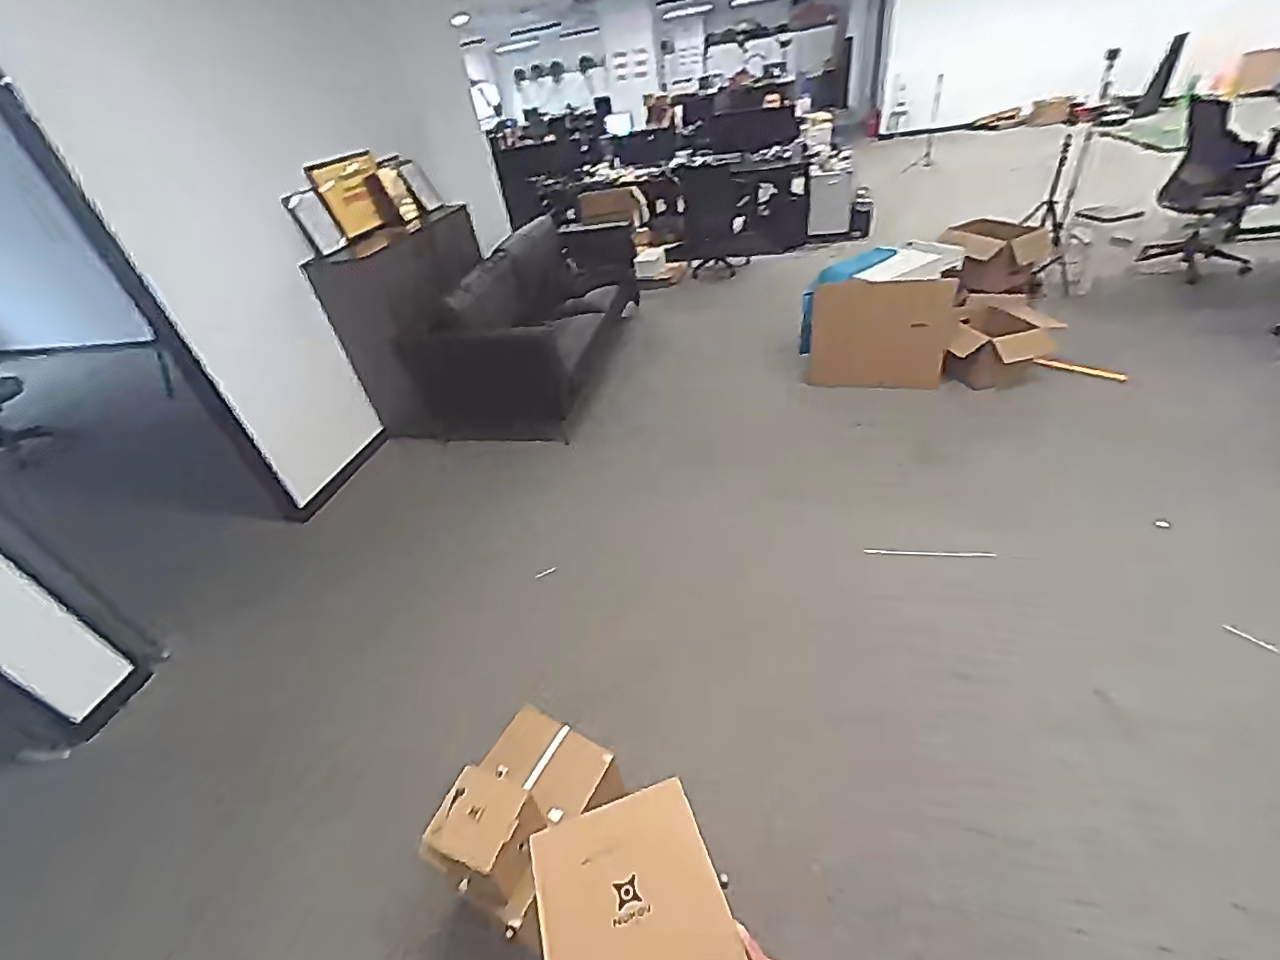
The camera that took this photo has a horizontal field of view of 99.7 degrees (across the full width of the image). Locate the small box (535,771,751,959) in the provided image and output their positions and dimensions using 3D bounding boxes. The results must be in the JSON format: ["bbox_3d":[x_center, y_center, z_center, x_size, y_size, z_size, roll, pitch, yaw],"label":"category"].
[{"bbox_3d":[0.005,0.439,0.535,0.168,0.176,0.179,-15,32,-10],"label":"small box"}]

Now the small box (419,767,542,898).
[{"bbox_3d":[-0.336,0.773,1.183,0.179,0.176,0.168,9,40,21],"label":"small box"}]
